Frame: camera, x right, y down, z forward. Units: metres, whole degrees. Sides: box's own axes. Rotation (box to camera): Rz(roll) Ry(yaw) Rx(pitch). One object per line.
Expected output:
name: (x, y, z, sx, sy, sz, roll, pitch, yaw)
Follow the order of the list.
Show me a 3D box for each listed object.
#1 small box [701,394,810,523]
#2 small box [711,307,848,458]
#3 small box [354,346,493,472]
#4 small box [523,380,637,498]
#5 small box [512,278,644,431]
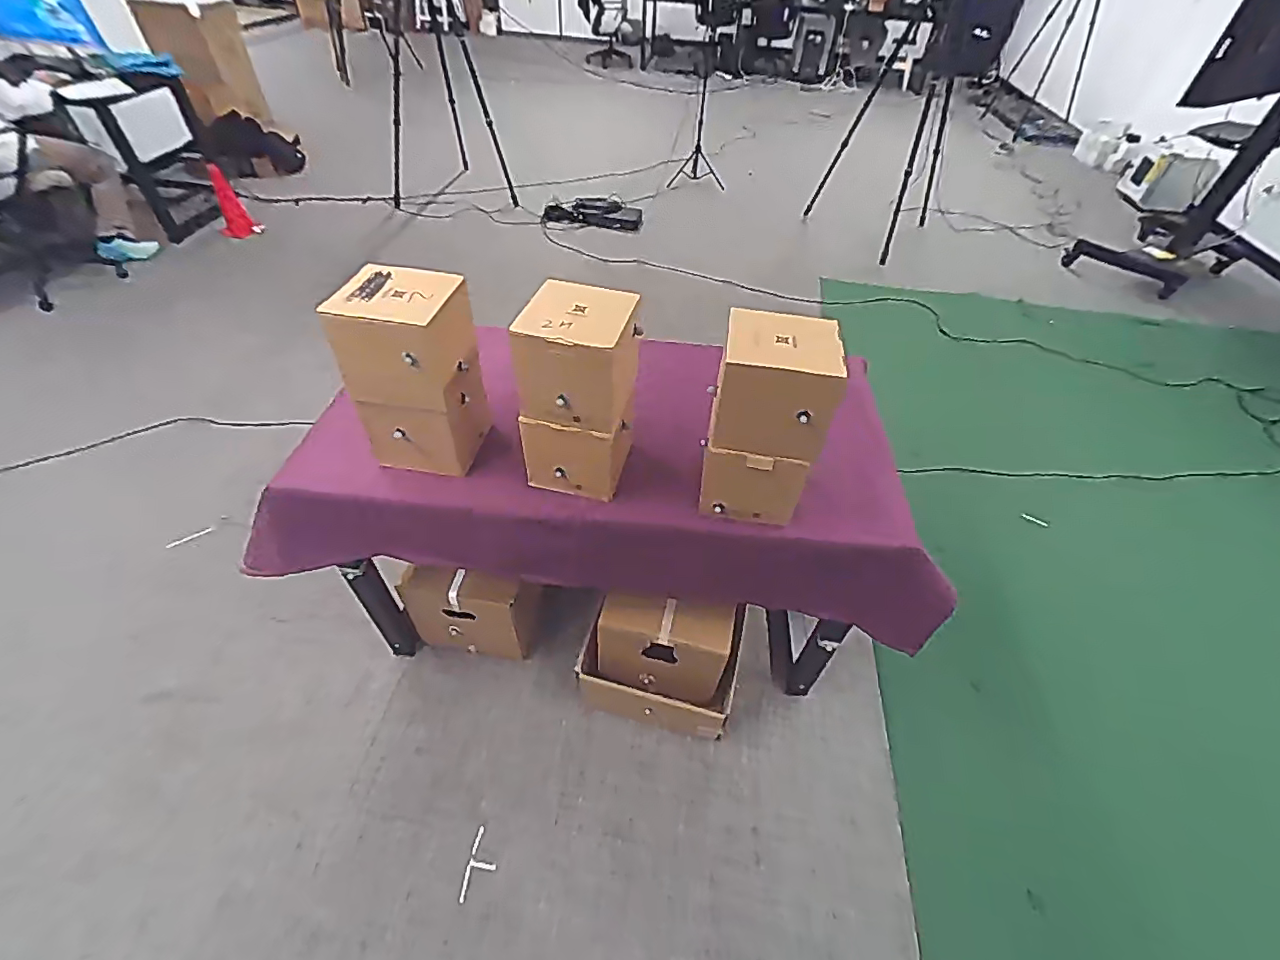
small box: (0.208, -0.043, 0.998, 0.168, 0.176, 0.179, 8, 46, 4)
small box: (0.219, -0.155, 0.880, 0.179, 0.176, 0.168, 9, 46, 5)
small box: (-0.403, -0.134, 1.043, 0.179, 0.176, 0.168, 8, 48, 5)
small box: (-0.109, -0.094, 1.028, 0.168, 0.176, 0.179, 12, 49, 7)
small box: (-0.098, -0.211, 0.912, 0.168, 0.176, 0.179, 12, 48, 8)
